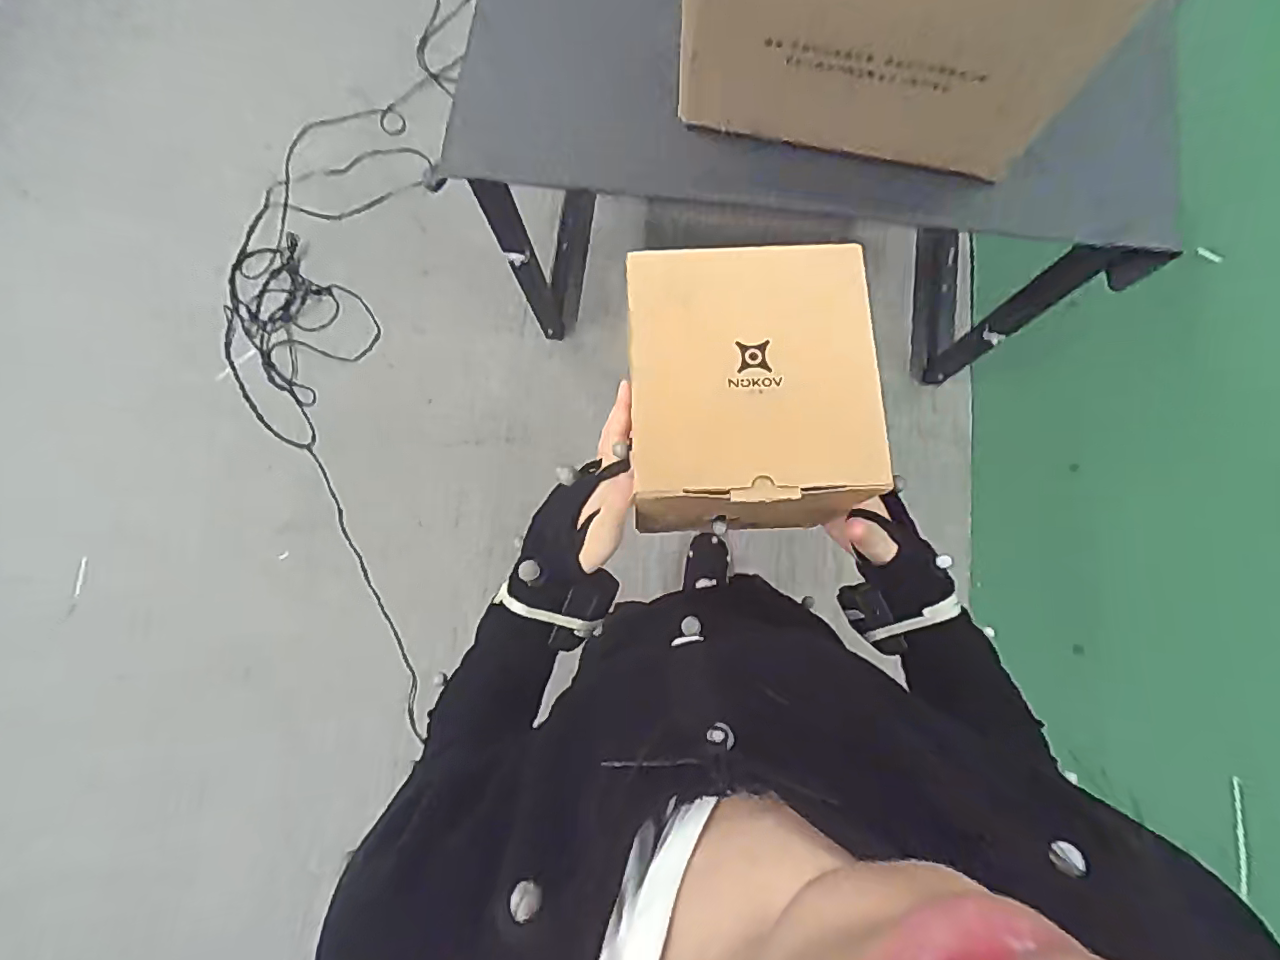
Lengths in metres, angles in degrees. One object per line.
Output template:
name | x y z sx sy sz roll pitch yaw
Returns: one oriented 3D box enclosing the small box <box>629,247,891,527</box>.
small box | 0.075 -0.061 0.439 0.168 0.176 0.179 -3 79 -1
